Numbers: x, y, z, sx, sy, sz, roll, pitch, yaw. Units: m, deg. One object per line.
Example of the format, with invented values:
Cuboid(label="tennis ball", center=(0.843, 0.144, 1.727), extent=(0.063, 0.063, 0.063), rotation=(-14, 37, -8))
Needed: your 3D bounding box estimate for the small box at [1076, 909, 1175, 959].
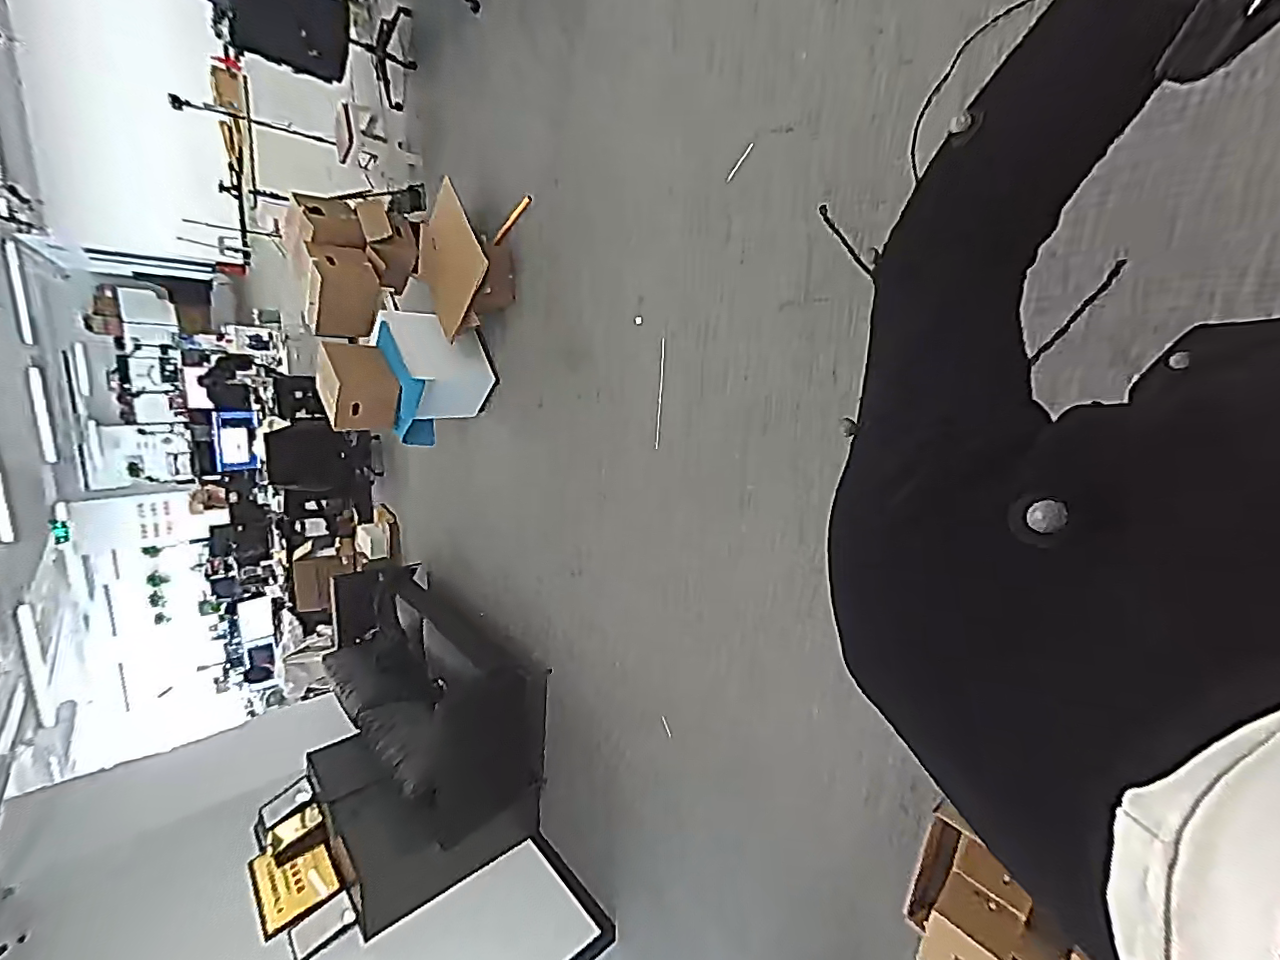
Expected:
Cuboid(label="small box", center=(1.131, 1.172, 1.264), extent=(0.168, 0.176, 0.179), rotation=(19, 110, 47))

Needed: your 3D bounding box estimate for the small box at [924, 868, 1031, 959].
Cuboid(label="small box", center=(0.839, 1.130, 1.340), extent=(0.168, 0.176, 0.179), rotation=(21, 111, 42))

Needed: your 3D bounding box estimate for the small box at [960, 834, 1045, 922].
Cuboid(label="small box", center=(0.958, 1.107, 1.450), extent=(0.168, 0.176, 0.179), rotation=(19, 110, 45))
